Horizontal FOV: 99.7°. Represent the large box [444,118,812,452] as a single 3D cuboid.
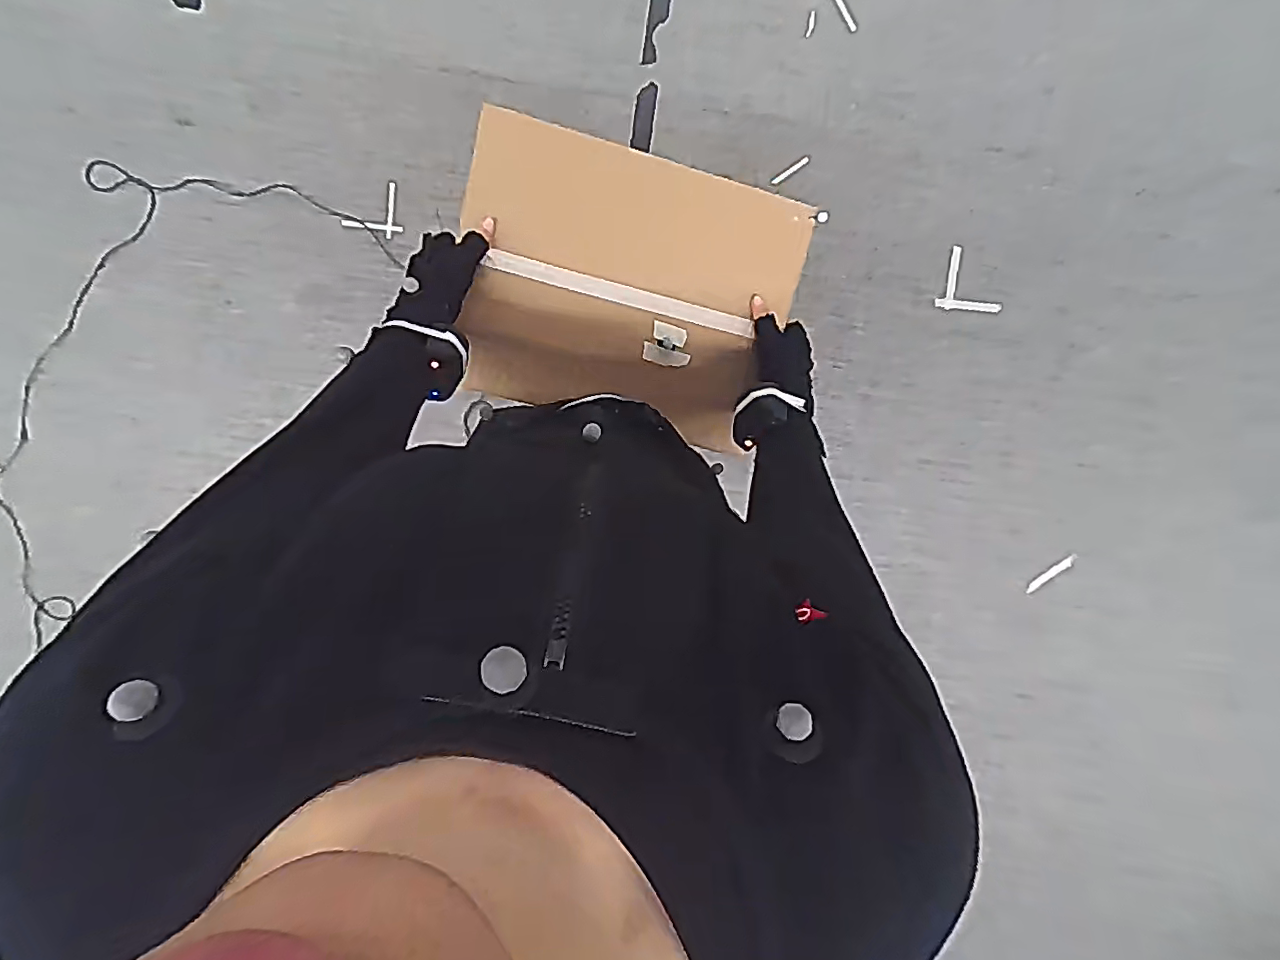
[{"bbox_3d":[-0.030,-0.255,0.808,0.408,0.320,0.320,14,102,-8],"label":"large box"}]
